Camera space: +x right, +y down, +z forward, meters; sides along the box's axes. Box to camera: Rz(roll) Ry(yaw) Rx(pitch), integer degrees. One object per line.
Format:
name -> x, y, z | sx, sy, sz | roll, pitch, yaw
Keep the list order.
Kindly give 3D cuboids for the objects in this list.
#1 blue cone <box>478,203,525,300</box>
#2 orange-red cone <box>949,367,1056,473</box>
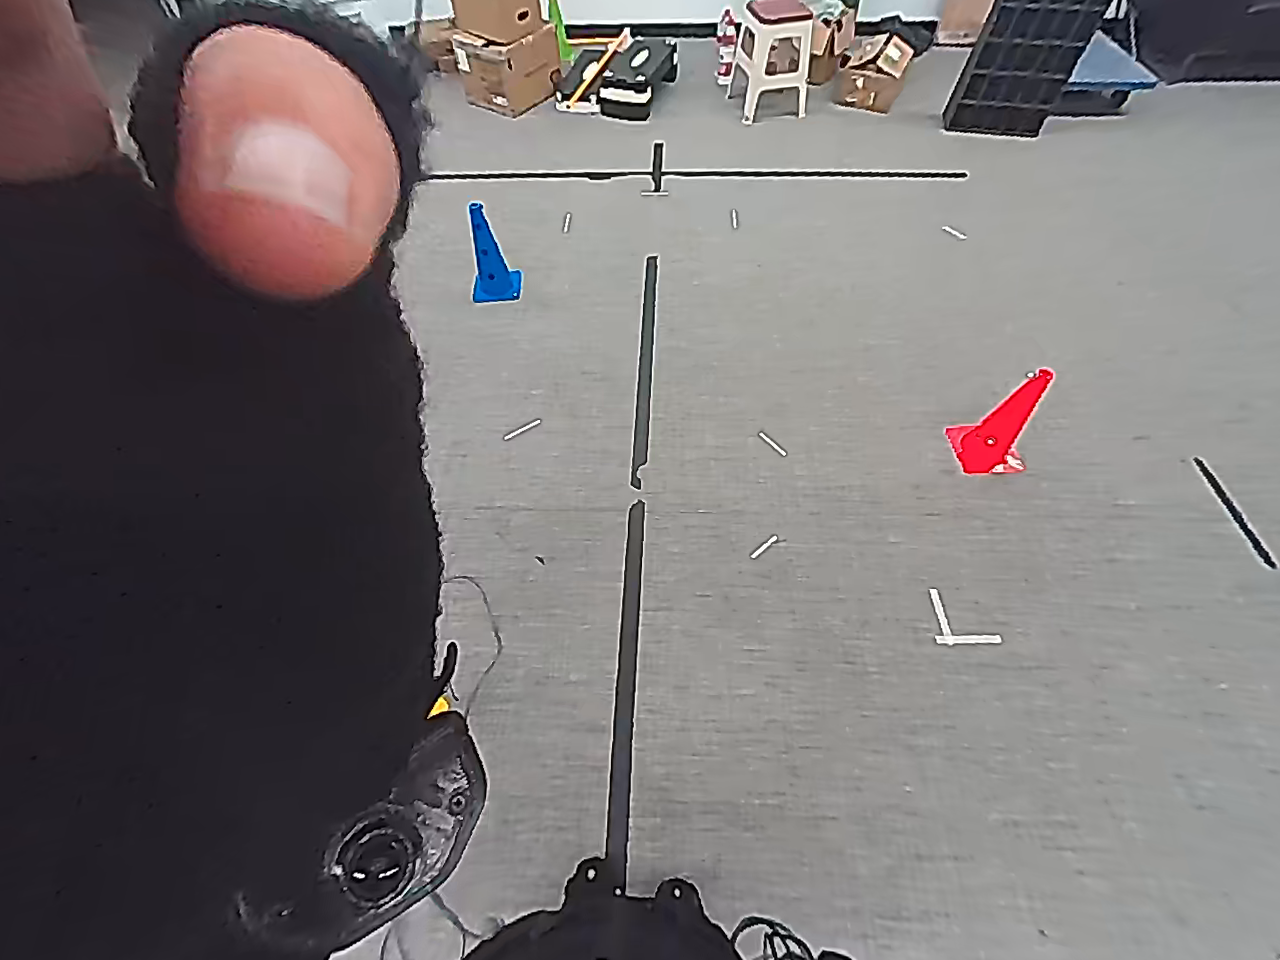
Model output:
blue cone -> -0.596, -0.927, 2.183 | 0.192, 0.380, 0.193 | -3, 56, -1
orange-red cone -> 1.145, -0.204, 1.652 | 0.198, 0.360, 0.199 | -2, 54, -1
